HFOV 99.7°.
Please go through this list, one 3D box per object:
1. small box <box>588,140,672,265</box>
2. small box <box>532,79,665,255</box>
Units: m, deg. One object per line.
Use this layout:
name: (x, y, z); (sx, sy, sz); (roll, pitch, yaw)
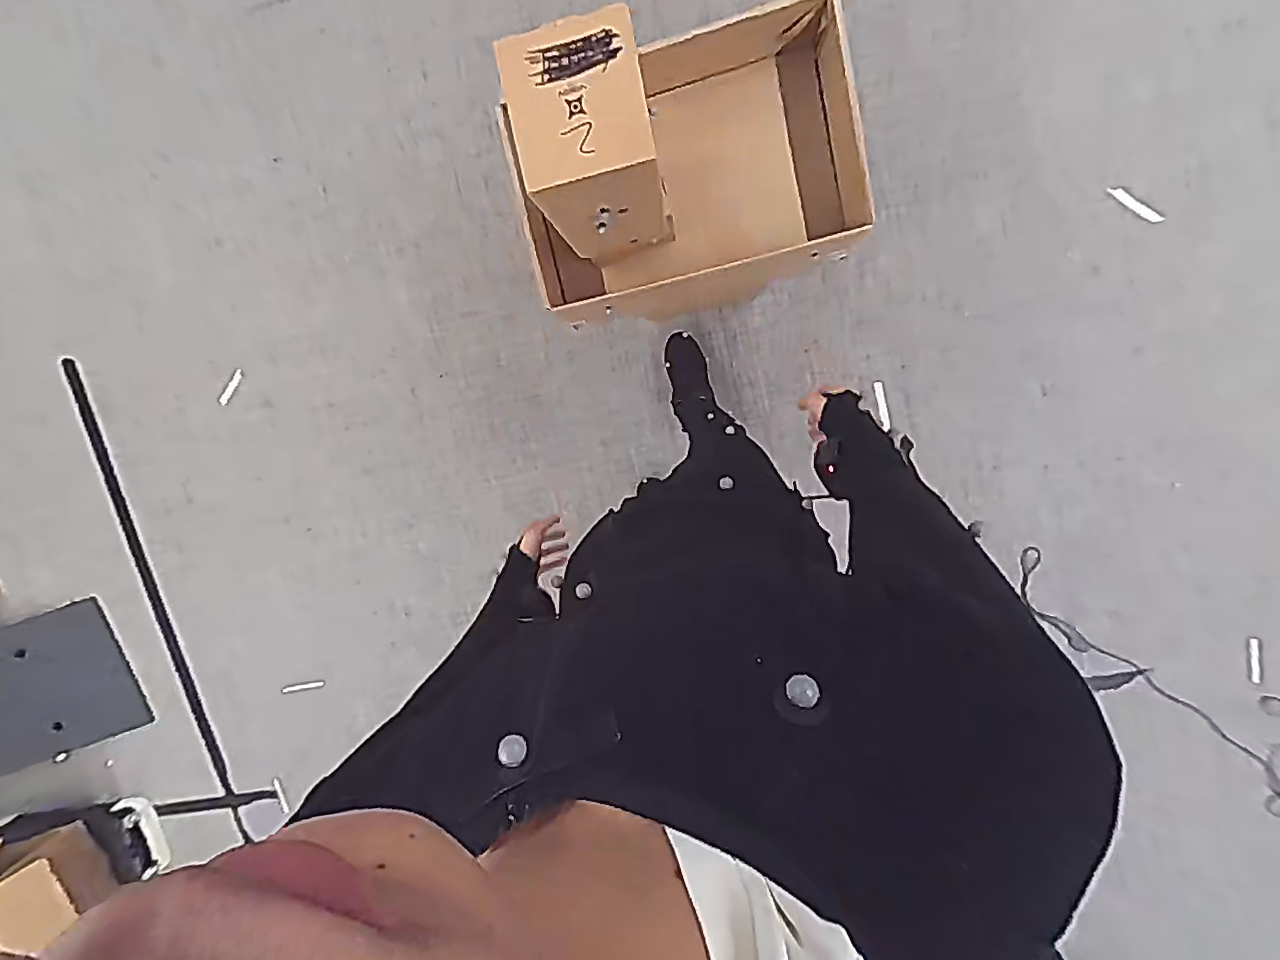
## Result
small box: (-0.043, -0.536, 1.033); (0.179, 0.176, 0.168); (-17, 96, 9)
small box: (-0.057, -0.491, 0.876); (0.168, 0.176, 0.179); (-12, 97, 8)
